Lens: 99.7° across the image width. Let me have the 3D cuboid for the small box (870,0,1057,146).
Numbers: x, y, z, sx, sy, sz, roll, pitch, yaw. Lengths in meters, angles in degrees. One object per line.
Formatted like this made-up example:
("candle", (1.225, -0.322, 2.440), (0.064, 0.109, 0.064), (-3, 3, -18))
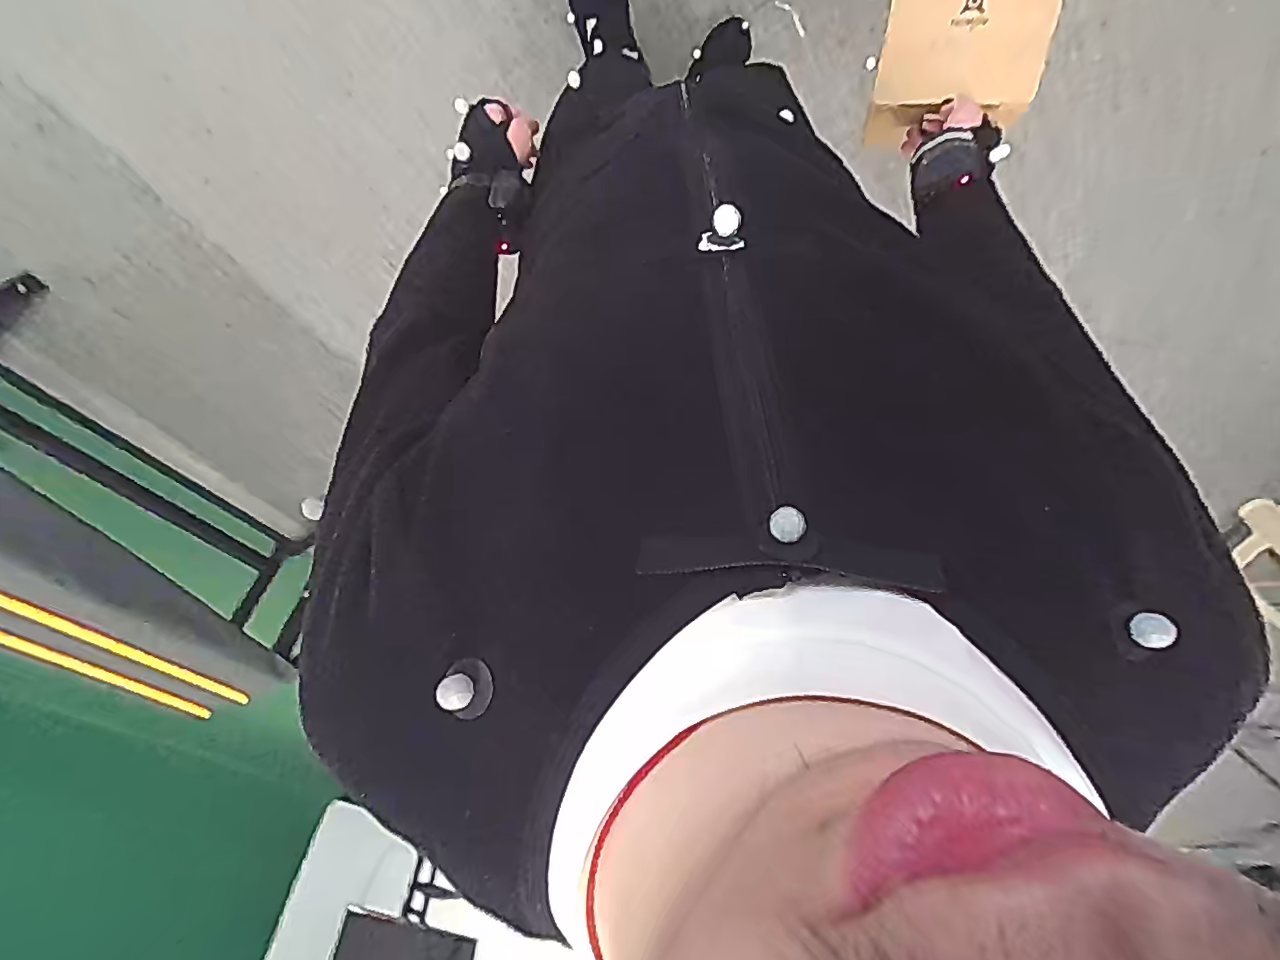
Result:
("small box", (0.378, -0.518, 0.647), (0.168, 0.176, 0.179), (9, 108, 19))
